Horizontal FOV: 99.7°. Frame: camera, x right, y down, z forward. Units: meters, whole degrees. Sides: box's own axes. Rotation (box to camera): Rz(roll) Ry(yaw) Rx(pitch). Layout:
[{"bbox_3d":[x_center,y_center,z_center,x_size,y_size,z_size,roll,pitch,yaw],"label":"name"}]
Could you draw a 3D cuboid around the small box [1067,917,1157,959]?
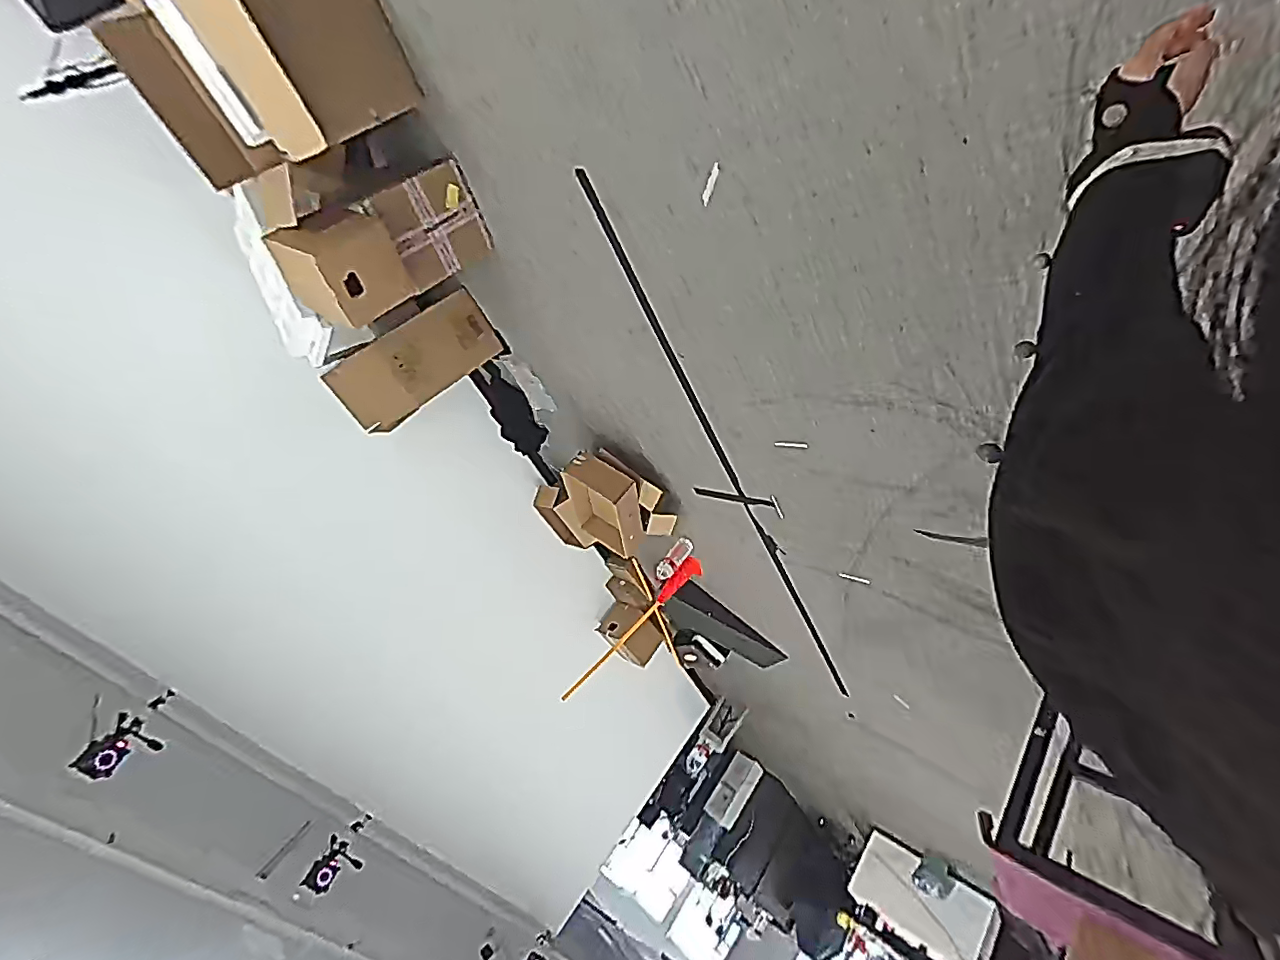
[{"bbox_3d":[1.409,1.458,1.617,0.179,0.176,0.168,11,141,48],"label":"small box"}]
